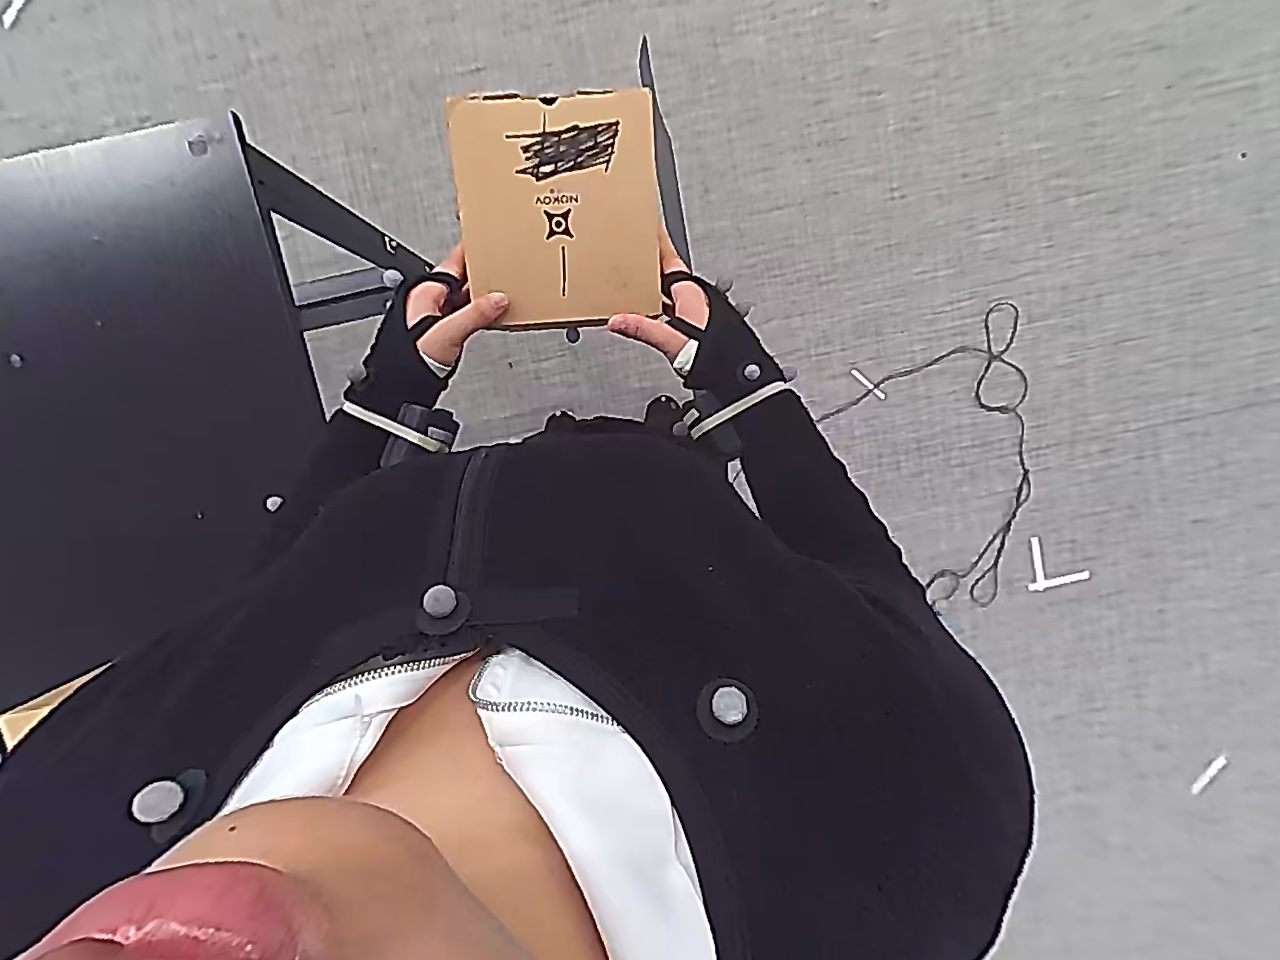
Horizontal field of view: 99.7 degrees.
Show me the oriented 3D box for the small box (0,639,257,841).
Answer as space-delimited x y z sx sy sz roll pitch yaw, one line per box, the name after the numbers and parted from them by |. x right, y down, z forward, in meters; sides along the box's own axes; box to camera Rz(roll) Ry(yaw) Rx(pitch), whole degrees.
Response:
-0.652 0.329 0.717 0.179 0.176 0.168 -11 96 2 | small box

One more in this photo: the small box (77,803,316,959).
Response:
-0.594 0.583 0.749 0.168 0.176 0.179 -13 97 1 | small box

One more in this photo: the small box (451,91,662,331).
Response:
-0.070 -0.241 0.525 0.168 0.176 0.179 -4 104 -2 | small box
